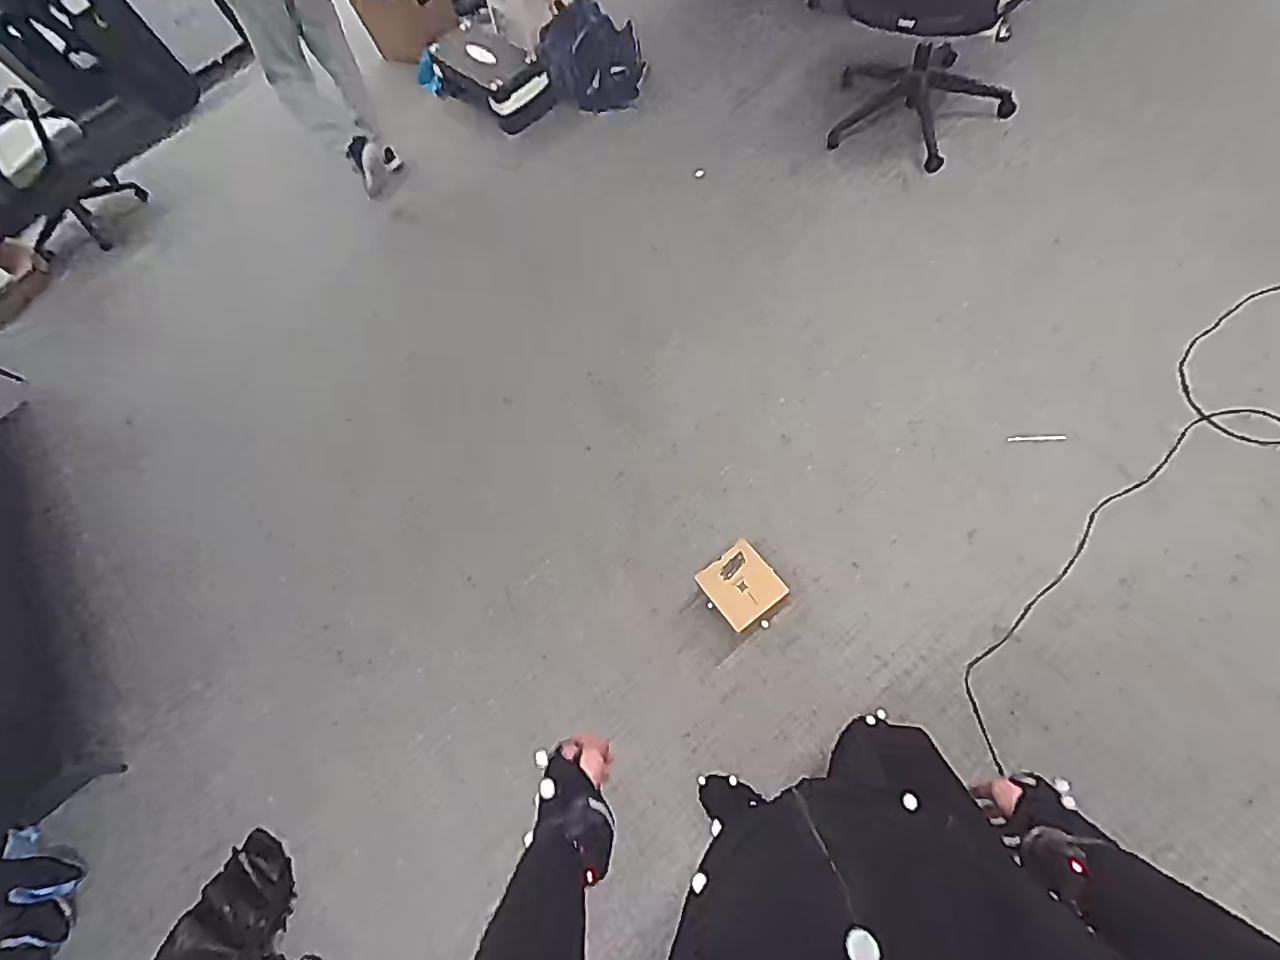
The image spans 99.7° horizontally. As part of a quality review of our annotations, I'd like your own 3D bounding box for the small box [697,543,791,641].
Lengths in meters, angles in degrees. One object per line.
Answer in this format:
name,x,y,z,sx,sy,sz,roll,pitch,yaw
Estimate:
small box,0.272,0.298,1.411,0.168,0.176,0.179,-38,65,-4
